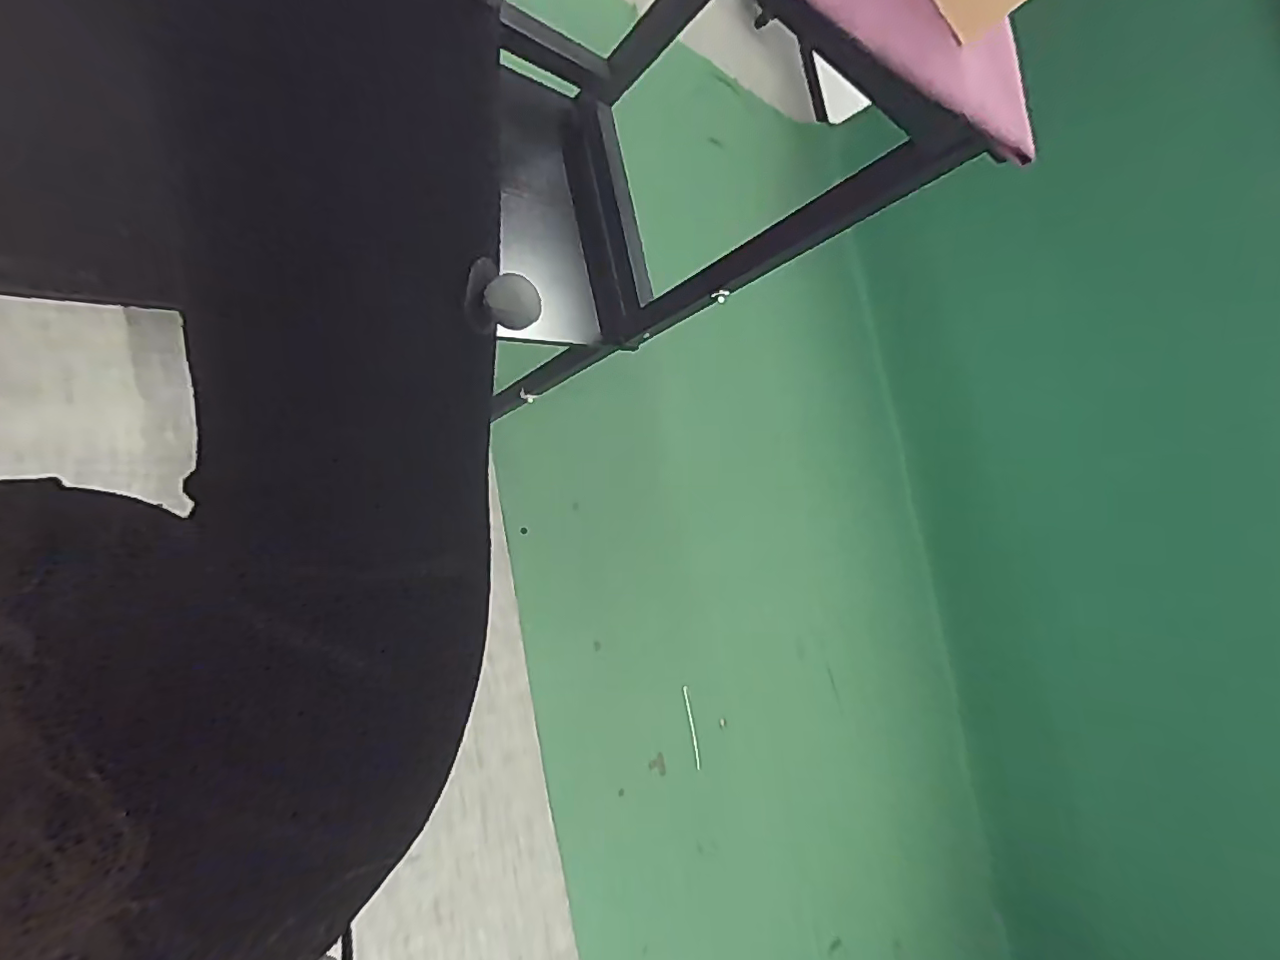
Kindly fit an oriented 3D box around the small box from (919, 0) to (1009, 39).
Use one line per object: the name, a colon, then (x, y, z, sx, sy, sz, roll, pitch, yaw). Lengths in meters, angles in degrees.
small box: (0.322, -0.569, 0.494, 0.179, 0.176, 0.168, 0, 78, -42)
